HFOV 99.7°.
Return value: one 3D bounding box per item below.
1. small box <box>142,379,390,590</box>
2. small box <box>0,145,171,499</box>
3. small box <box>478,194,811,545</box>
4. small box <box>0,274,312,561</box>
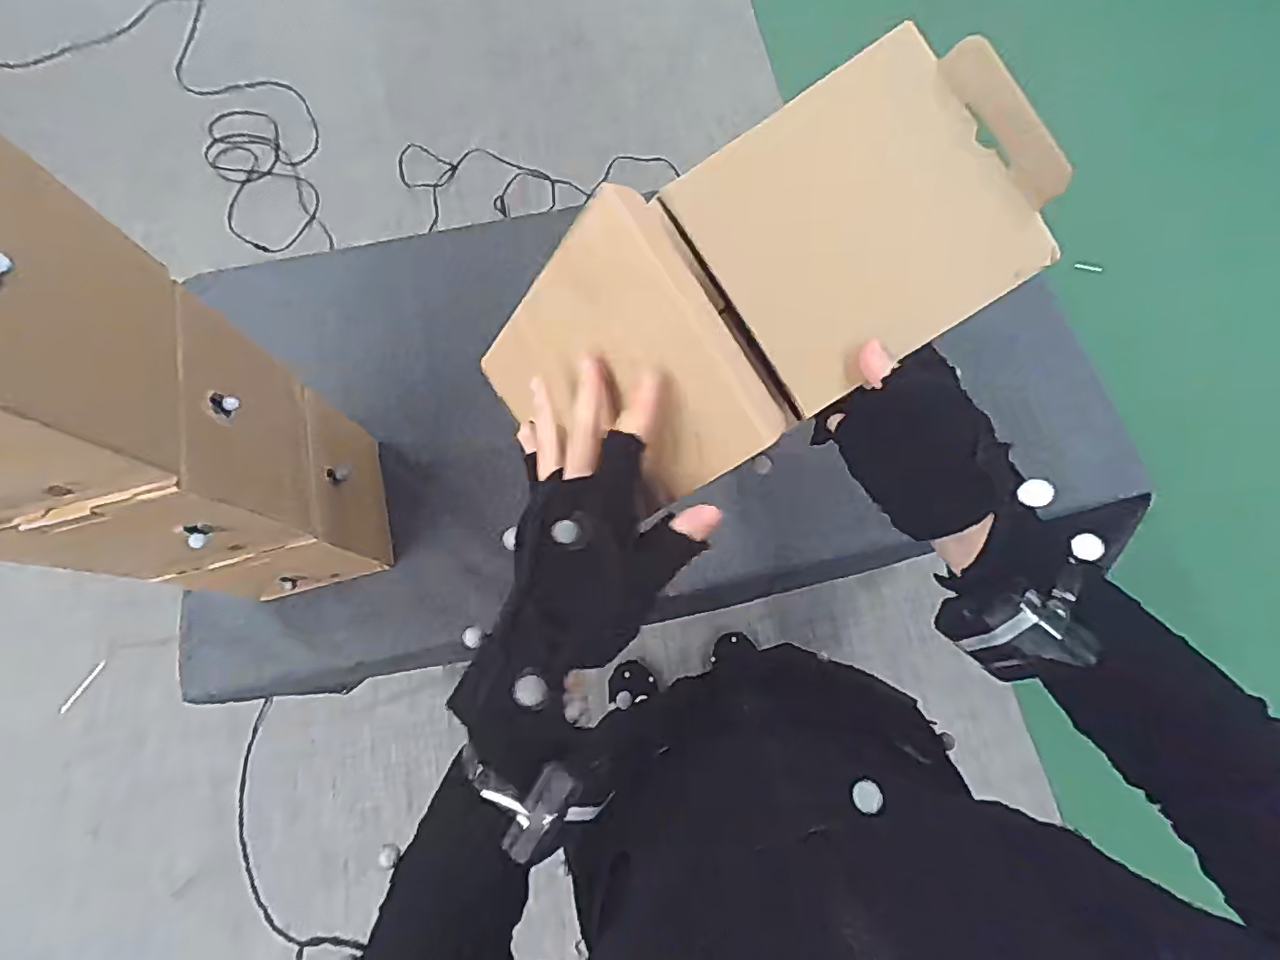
[{"bbox_3d":[-0.407,0.015,0.614,0.168,0.176,0.179,-14,74,-4],"label":"small box"},{"bbox_3d":[-0.412,-0.090,0.304,0.168,0.176,0.179,-15,73,-5],"label":"small box"},{"bbox_3d":[0.019,-0.078,0.427,0.179,0.176,0.168,-33,88,24],"label":"small box"},{"bbox_3d":[-0.408,-0.035,0.459,0.168,0.176,0.179,-14,73,-4],"label":"small box"}]
